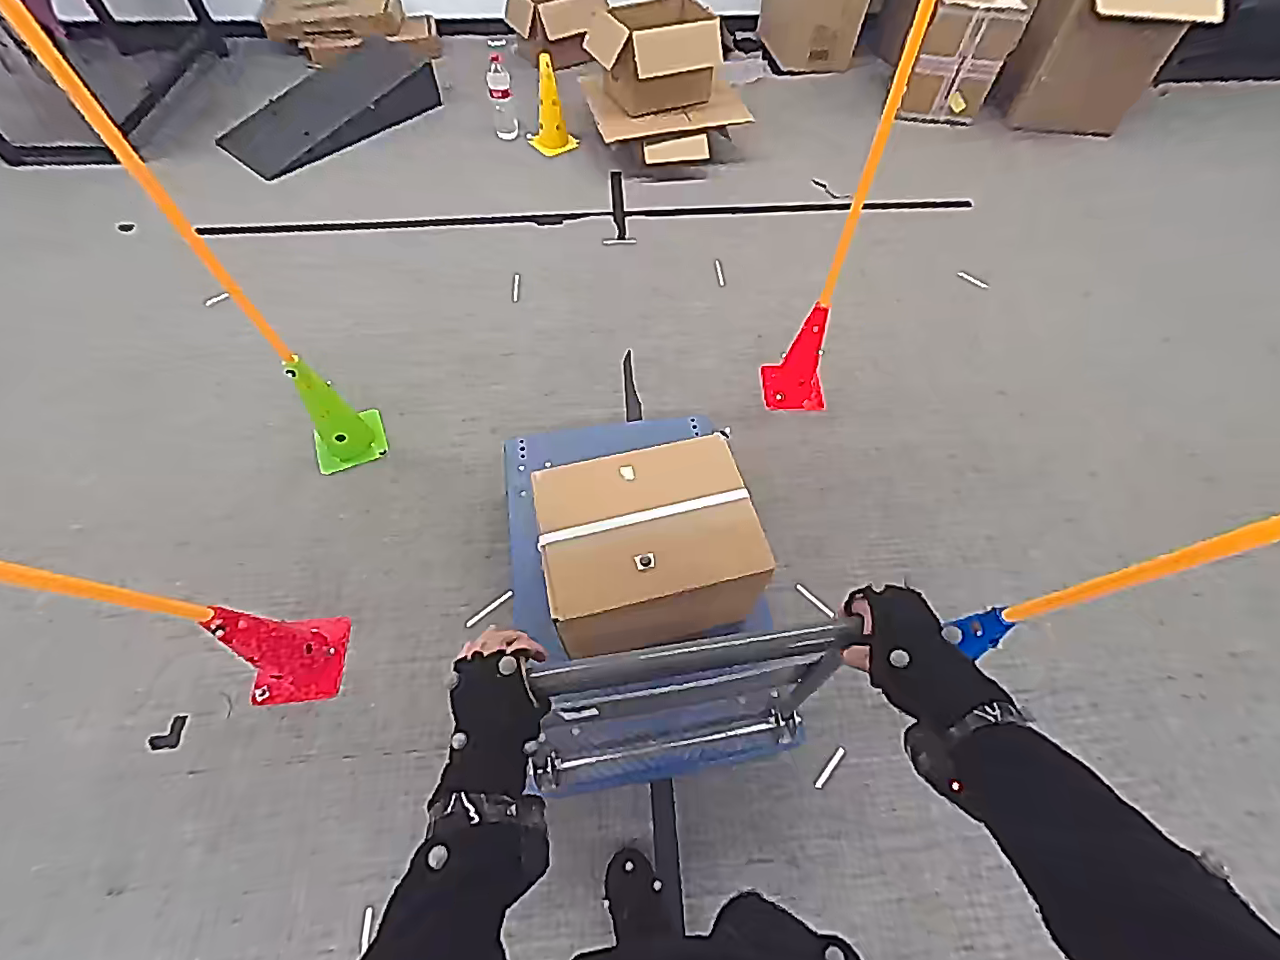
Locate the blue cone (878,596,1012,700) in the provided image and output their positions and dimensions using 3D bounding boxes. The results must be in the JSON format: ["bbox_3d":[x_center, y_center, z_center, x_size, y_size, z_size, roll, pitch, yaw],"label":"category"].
[{"bbox_3d":[0.719,0.356,1.221,0.193,0.380,0.192,-6,57,-6],"label":"blue cone"}]

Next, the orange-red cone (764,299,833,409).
[{"bbox_3d":[0.523,-0.409,1.674,0.199,0.360,0.198,3,59,-1],"label":"orange-red cone"}]
